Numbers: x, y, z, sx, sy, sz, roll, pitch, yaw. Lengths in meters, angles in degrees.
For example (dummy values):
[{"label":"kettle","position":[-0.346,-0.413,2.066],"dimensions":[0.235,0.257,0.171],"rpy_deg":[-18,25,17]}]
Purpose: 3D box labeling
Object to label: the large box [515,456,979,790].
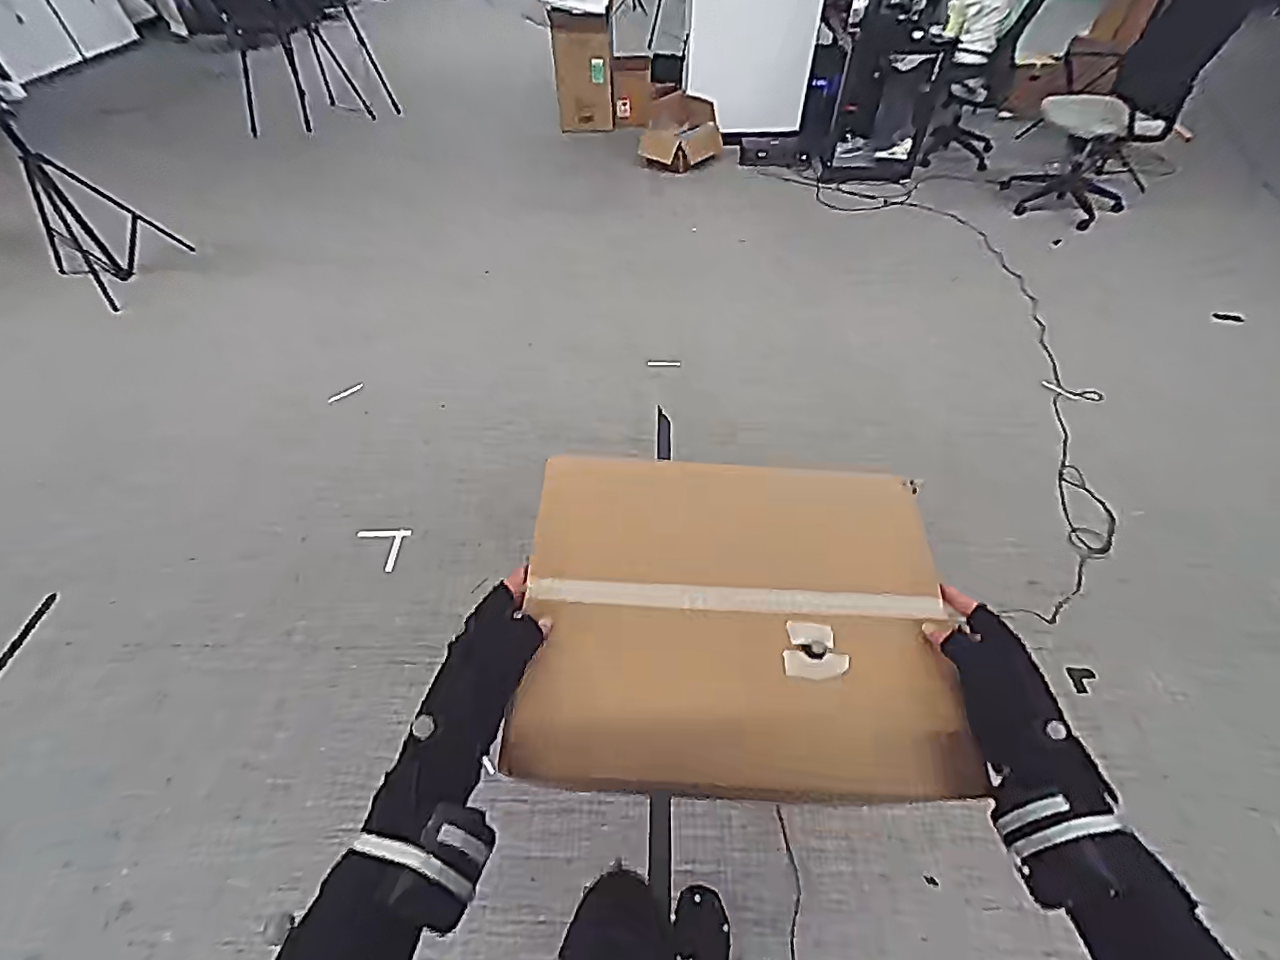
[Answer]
[{"label":"large box","position":[0.086,0.189,0.656],"dimensions":[0.408,0.320,0.320],"rpy_deg":[3,59,-2]}]
